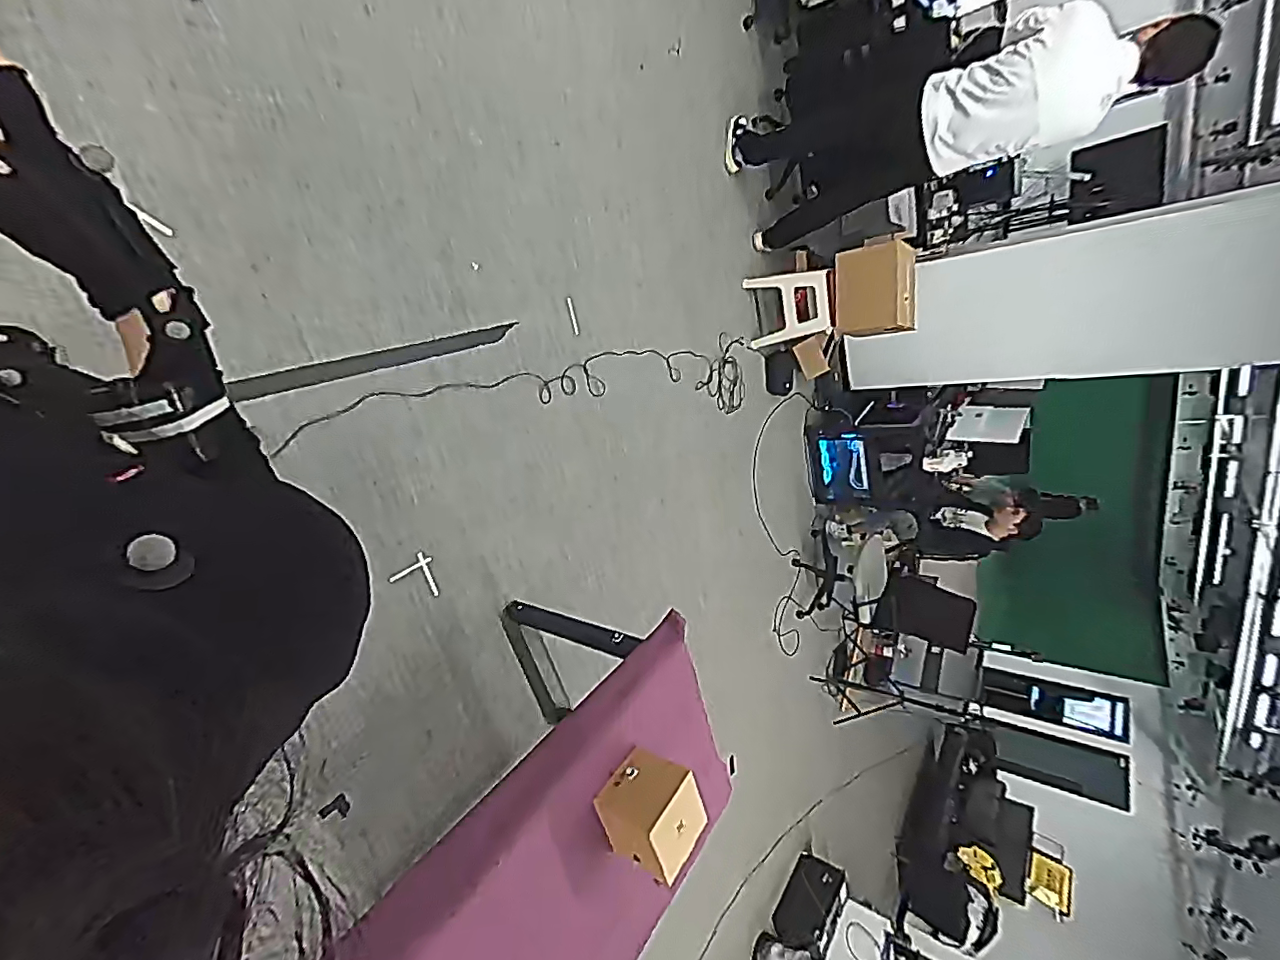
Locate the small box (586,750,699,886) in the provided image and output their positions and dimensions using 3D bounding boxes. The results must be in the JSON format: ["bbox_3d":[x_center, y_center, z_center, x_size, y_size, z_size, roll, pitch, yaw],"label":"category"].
[{"bbox_3d":[0.007,0.753,1.227,0.168,0.176,0.179,-39,120,-43],"label":"small box"}]
